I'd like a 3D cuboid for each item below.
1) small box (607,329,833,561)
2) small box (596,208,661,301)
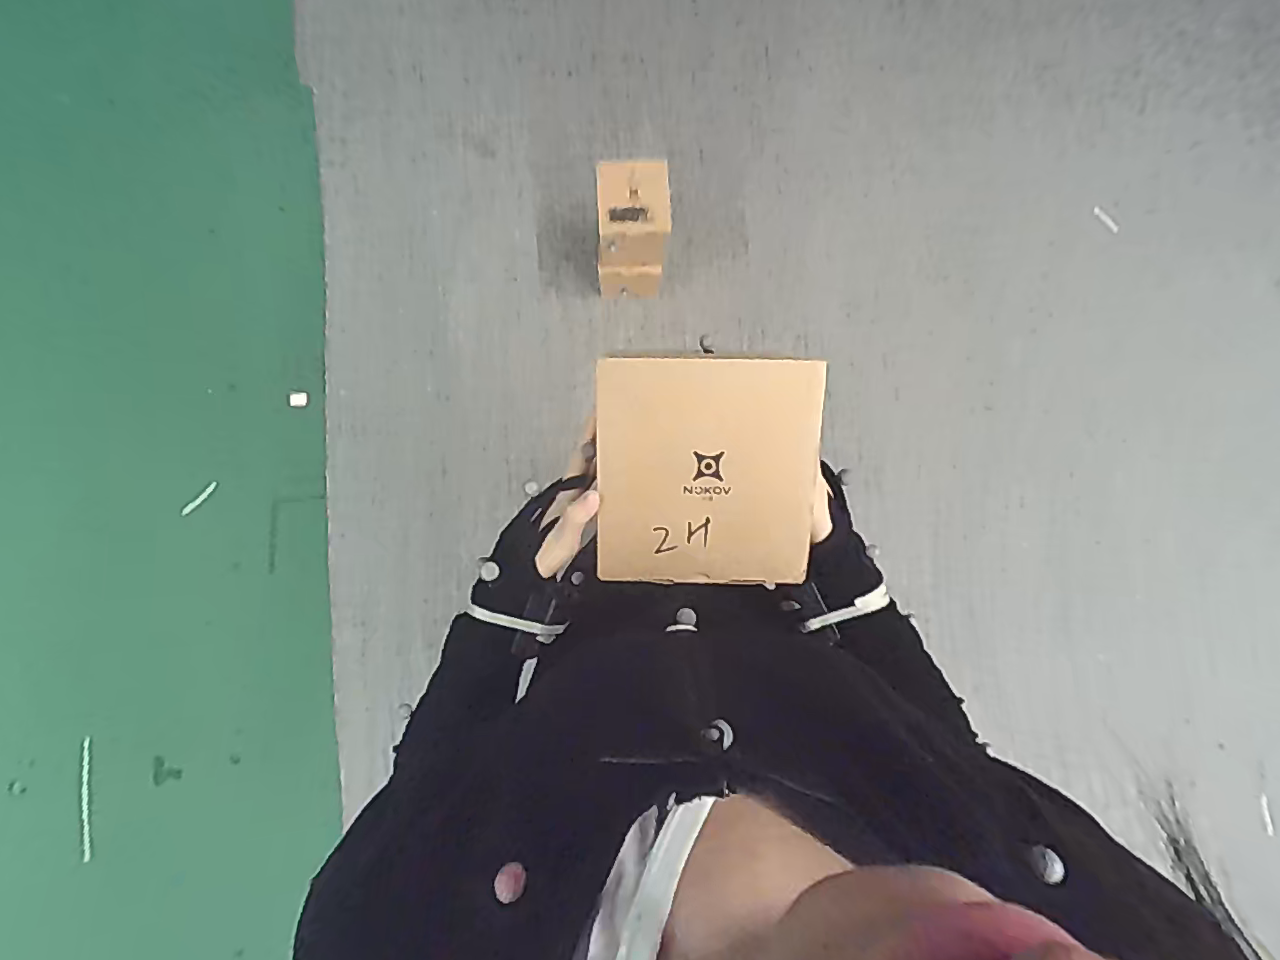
[{"bbox_3d":[0.057,-0.041,0.488,0.168,0.176,0.179,2,104,0],"label":"small box"},{"bbox_3d":[-0.034,-0.609,1.472,0.168,0.176,0.179,1,86,-2],"label":"small box"}]
